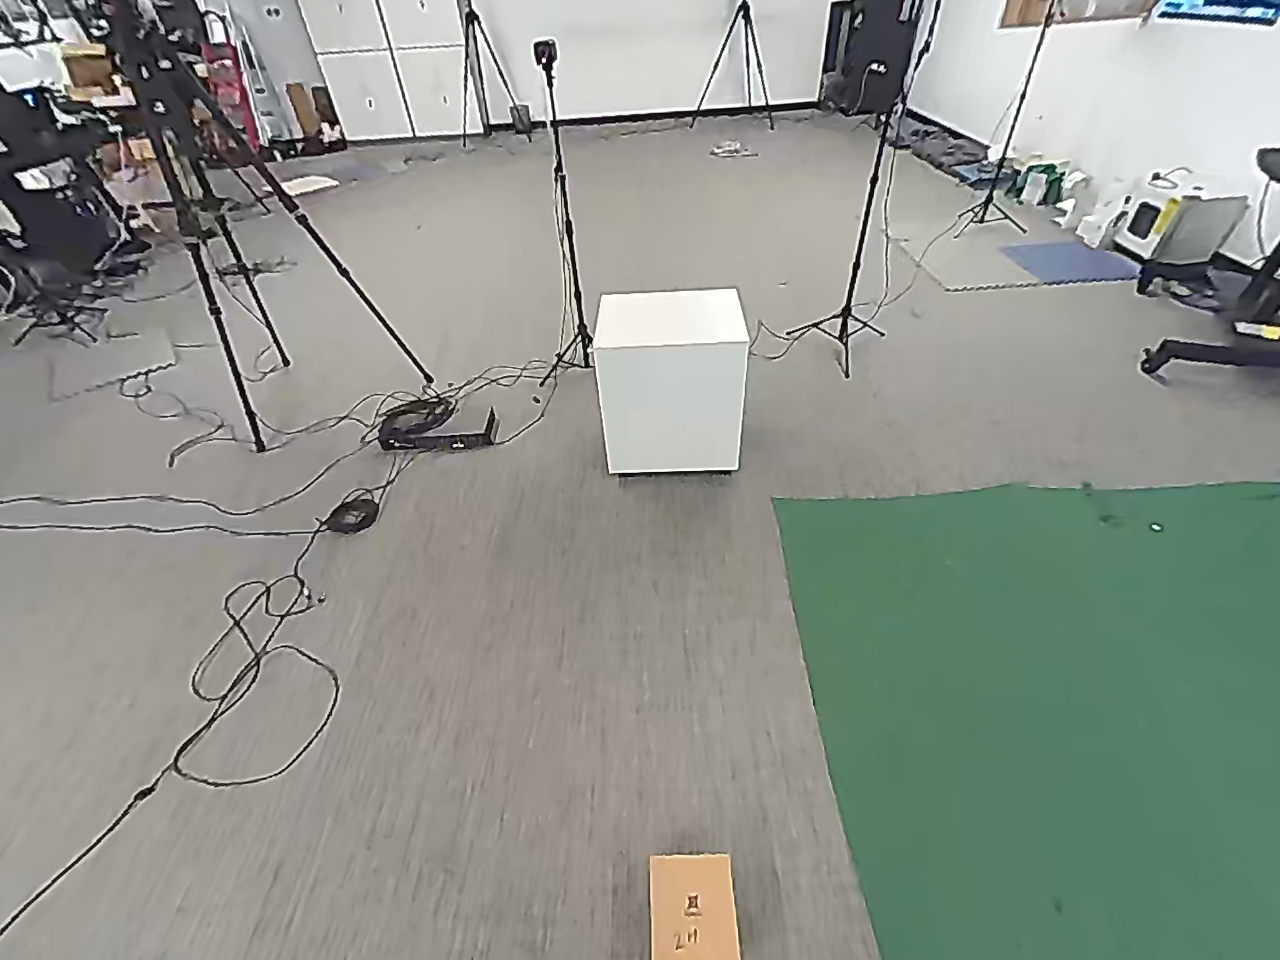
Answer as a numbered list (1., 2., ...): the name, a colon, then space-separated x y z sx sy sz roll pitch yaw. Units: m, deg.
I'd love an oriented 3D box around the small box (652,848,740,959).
1. small box: 0.109 0.884 1.116 0.168 0.176 0.179 -3 44 3
